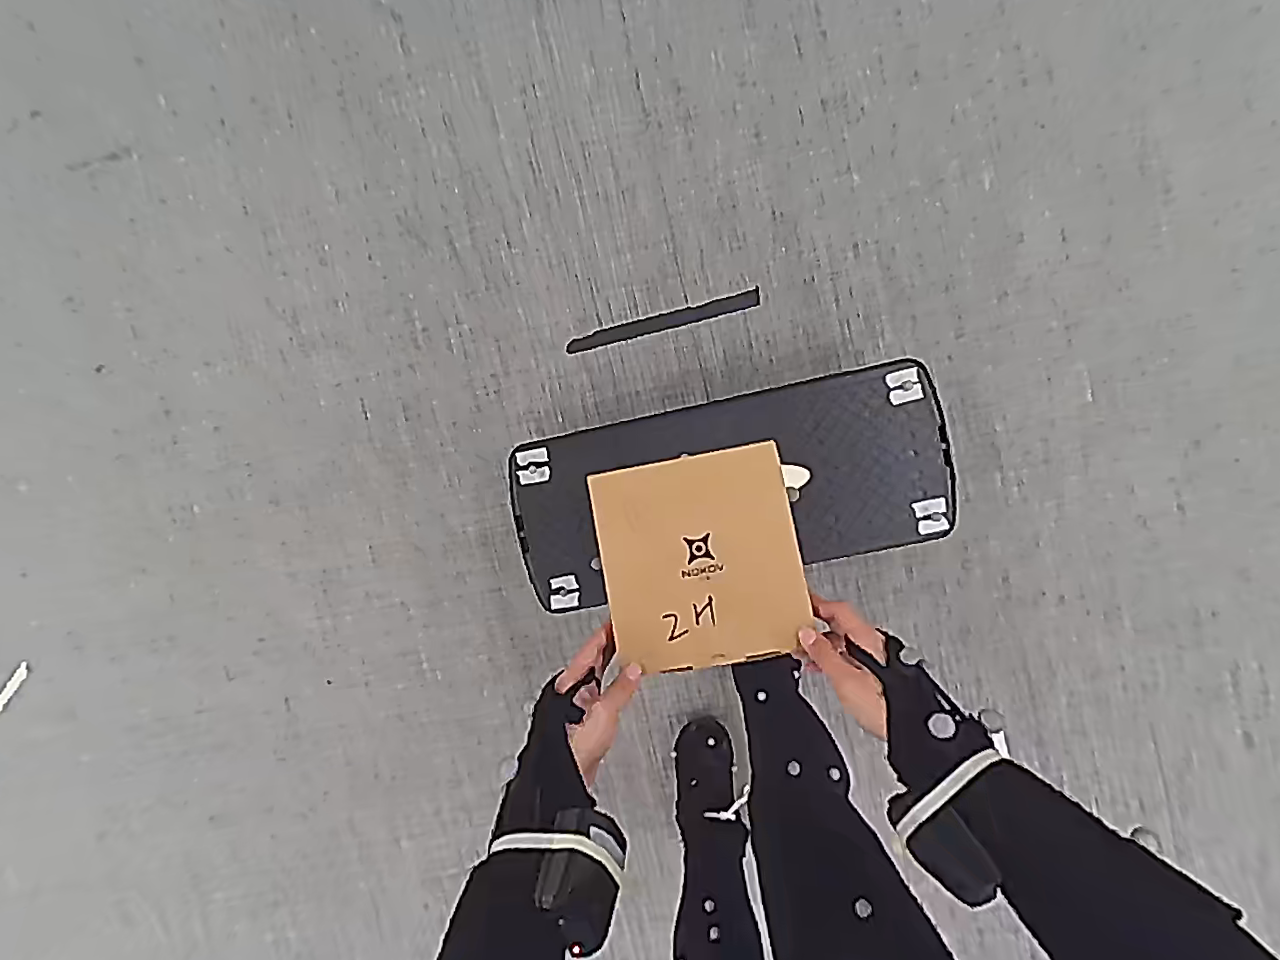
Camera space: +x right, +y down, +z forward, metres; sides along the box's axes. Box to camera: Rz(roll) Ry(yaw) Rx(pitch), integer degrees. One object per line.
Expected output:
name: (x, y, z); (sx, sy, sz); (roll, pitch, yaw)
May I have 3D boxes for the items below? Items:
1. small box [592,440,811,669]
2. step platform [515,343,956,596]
small box: (0.056, 0.071, 0.540); (0.168, 0.176, 0.179); (-10, 84, 4)
step platform: (0.143, -0.014, 0.904); (0.684, 0.204, 0.286); (-12, 92, 5)
